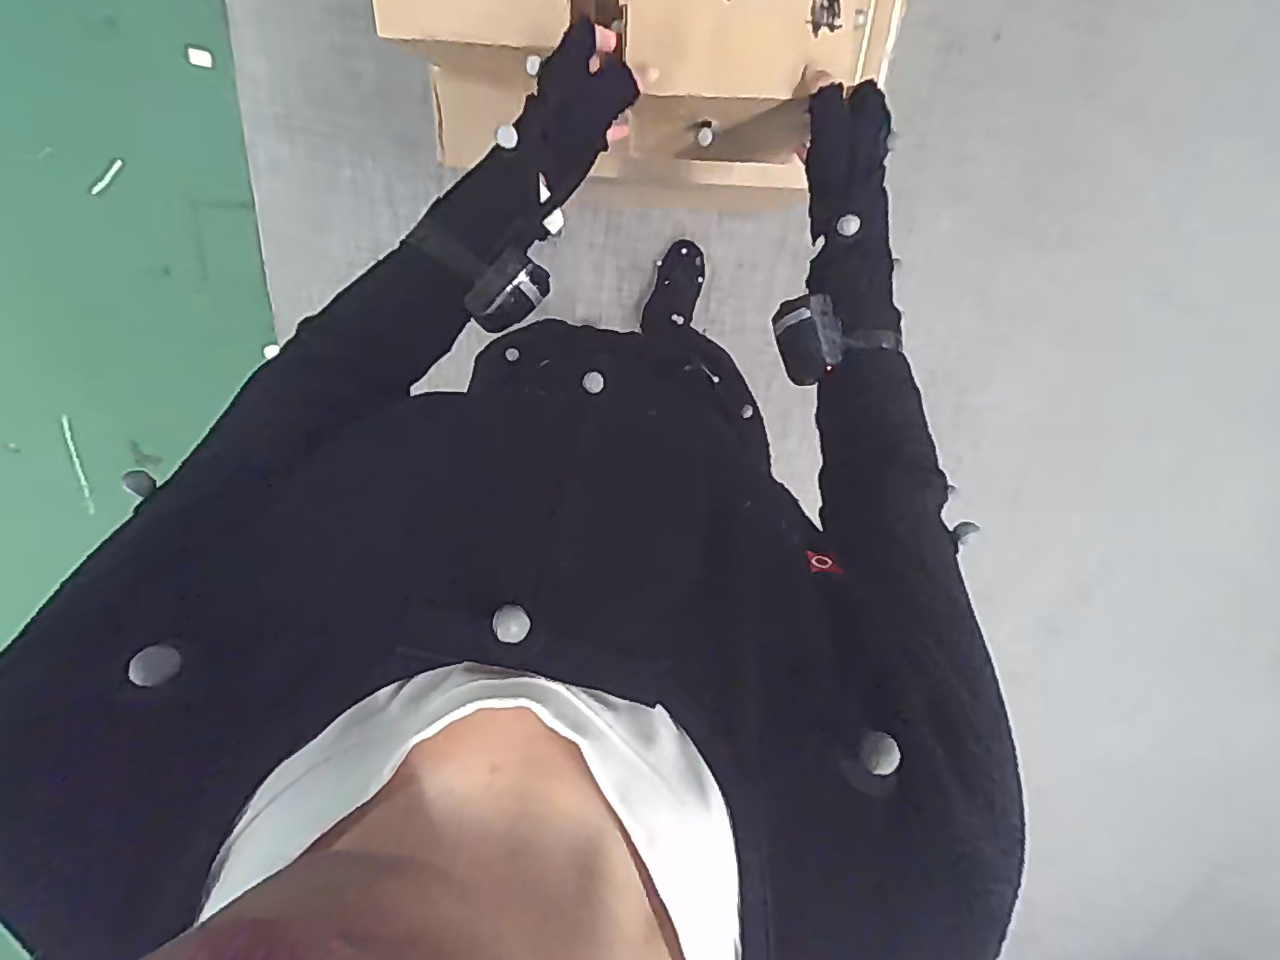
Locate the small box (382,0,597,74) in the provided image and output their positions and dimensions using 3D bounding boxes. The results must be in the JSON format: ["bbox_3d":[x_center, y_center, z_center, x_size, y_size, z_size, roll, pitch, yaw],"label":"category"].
[{"bbox_3d":[-0.134,-0.504,0.515,0.179,0.176,0.168,4,119,3],"label":"small box"}]

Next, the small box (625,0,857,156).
[{"bbox_3d":[0.082,-0.406,0.481,0.179,0.176,0.168,2,105,1],"label":"small box"}]
